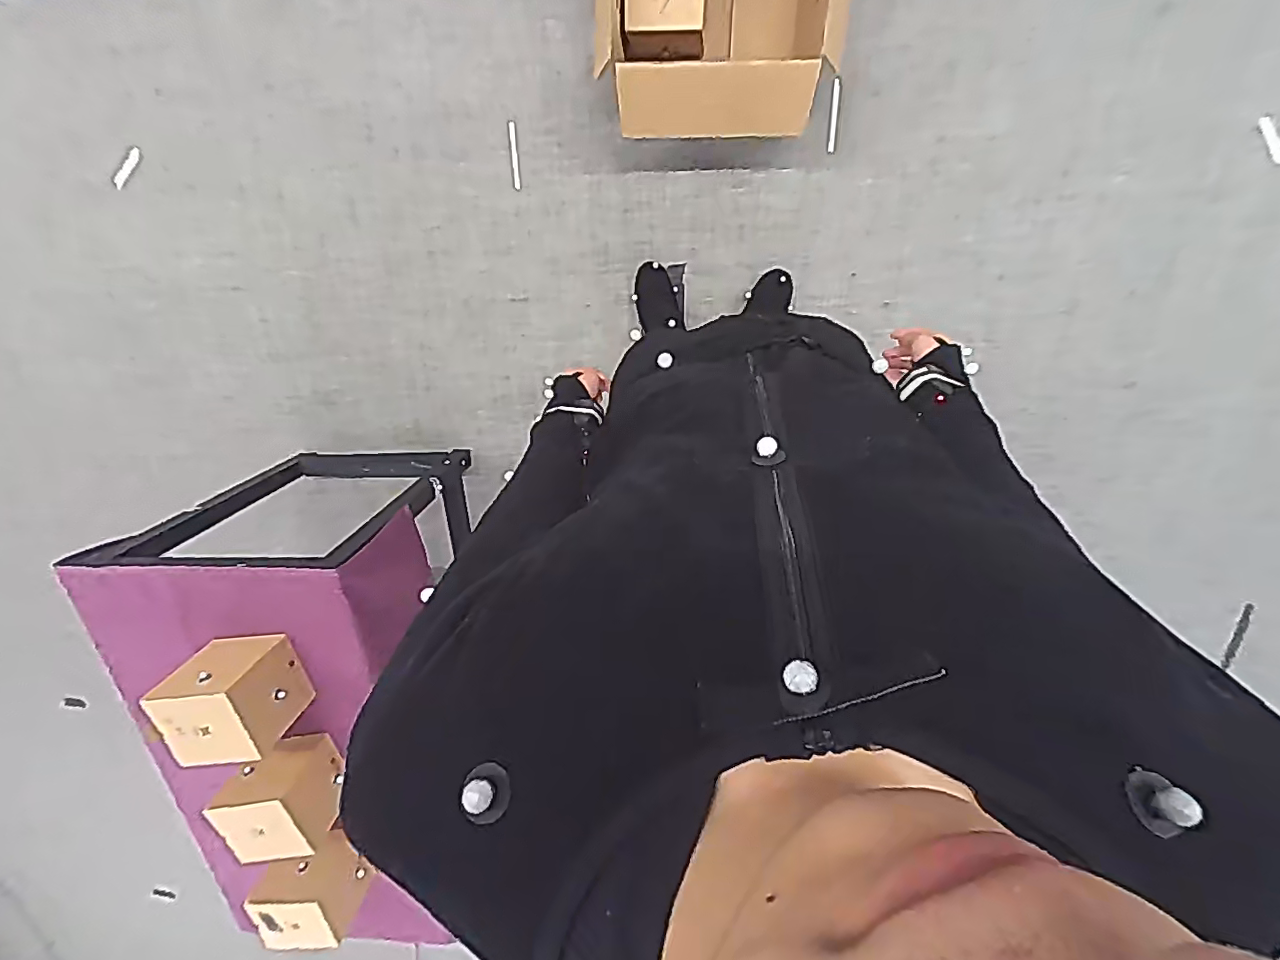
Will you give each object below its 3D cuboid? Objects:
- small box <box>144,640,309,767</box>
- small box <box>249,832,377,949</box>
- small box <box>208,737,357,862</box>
[{"bbox_3d":[-0.797,0.435,1.070,0.179,0.176,0.168,-7,112,8],"label":"small box"},{"bbox_3d":[-0.769,0.972,1.290,0.179,0.176,0.168,-5,112,6],"label":"small box"},{"bbox_3d":[-0.763,0.689,1.174,0.179,0.176,0.168,-10,112,9],"label":"small box"}]
